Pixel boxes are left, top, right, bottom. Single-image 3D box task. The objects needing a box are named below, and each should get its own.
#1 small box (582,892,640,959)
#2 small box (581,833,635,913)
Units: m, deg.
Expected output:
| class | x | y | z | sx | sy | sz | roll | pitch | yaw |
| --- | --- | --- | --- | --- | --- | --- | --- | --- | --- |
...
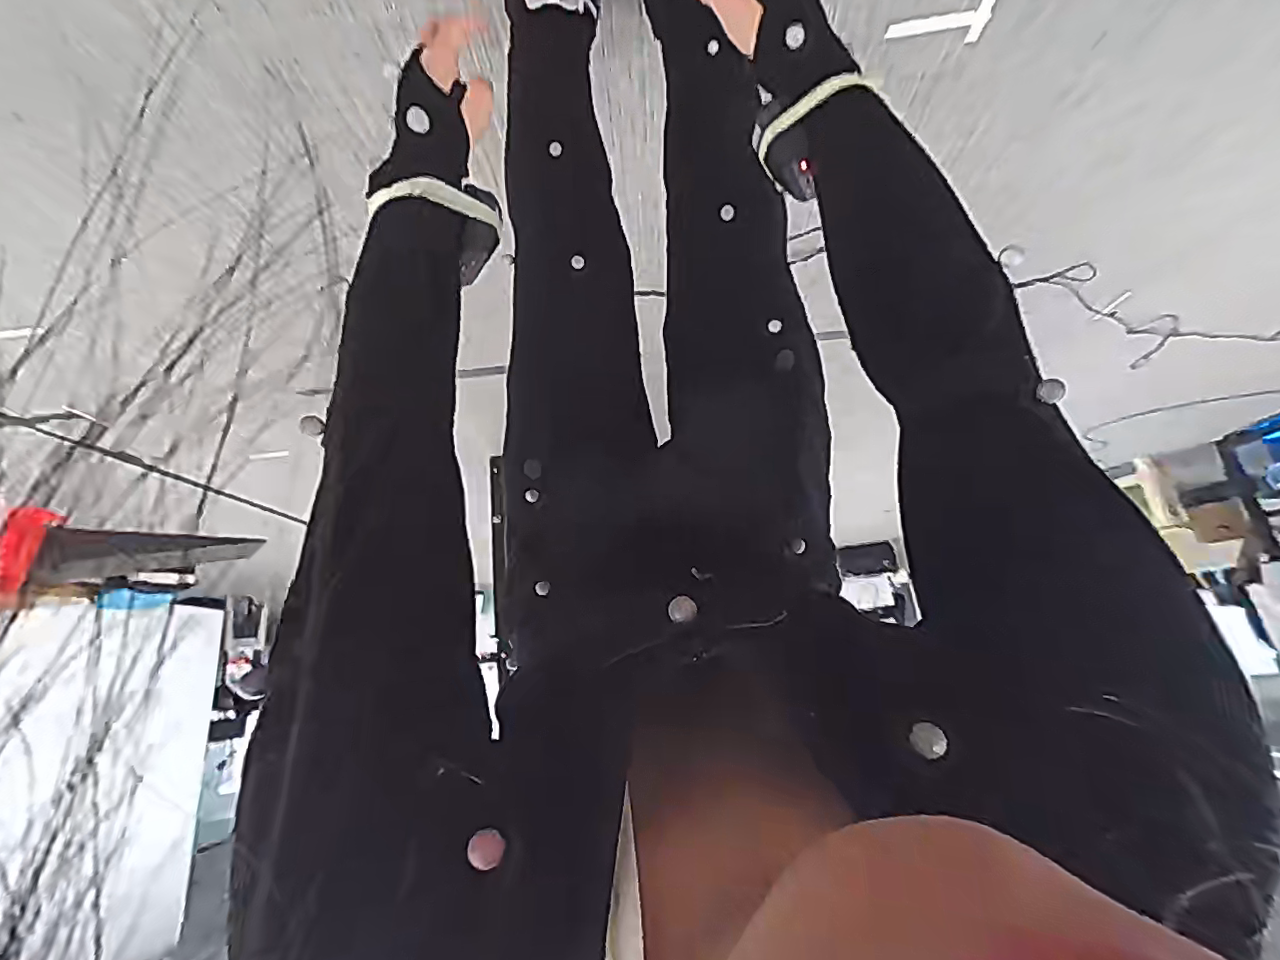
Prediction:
| class | x | y | z | sx | sy | sz | roll | pitch | yaw |
| --- | --- | --- | --- | --- | --- | --- | --- | --- | --- |
| small box | -0.095 | 1.504 | 1.800 | 0.168 | 0.176 | 0.179 | -7 | 163 | 2 |
| small box | -0.113 | 1.361 | 1.879 | 0.168 | 0.176 | 0.179 | -6 | 164 | -4 |
